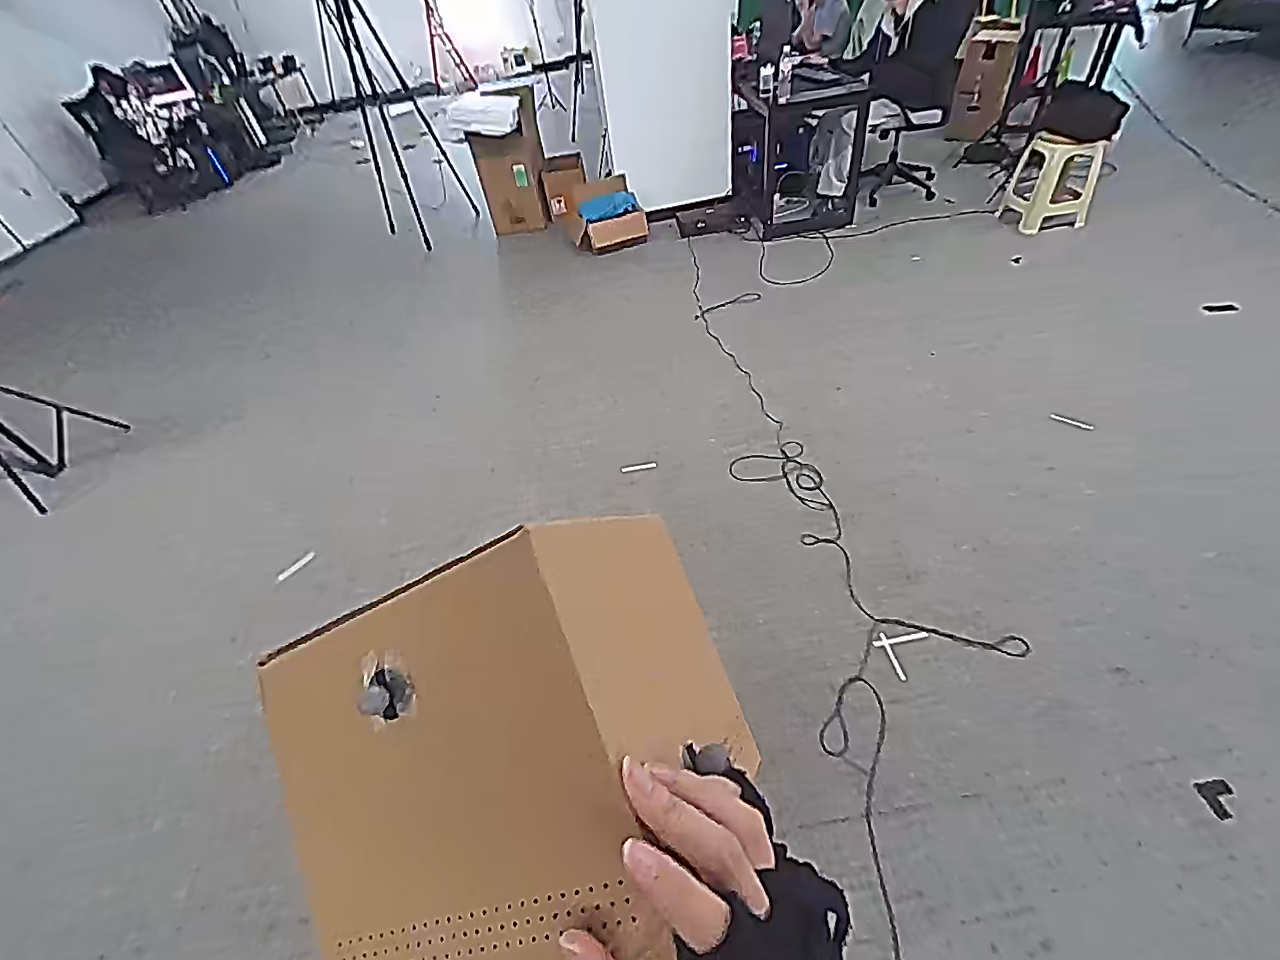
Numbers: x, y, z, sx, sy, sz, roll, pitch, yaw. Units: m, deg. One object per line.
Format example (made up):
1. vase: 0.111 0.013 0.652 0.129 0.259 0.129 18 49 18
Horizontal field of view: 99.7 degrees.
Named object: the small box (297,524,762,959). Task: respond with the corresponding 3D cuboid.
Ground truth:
1. small box: -0.053 0.139 0.319 0.179 0.168 0.176 -27 79 19
